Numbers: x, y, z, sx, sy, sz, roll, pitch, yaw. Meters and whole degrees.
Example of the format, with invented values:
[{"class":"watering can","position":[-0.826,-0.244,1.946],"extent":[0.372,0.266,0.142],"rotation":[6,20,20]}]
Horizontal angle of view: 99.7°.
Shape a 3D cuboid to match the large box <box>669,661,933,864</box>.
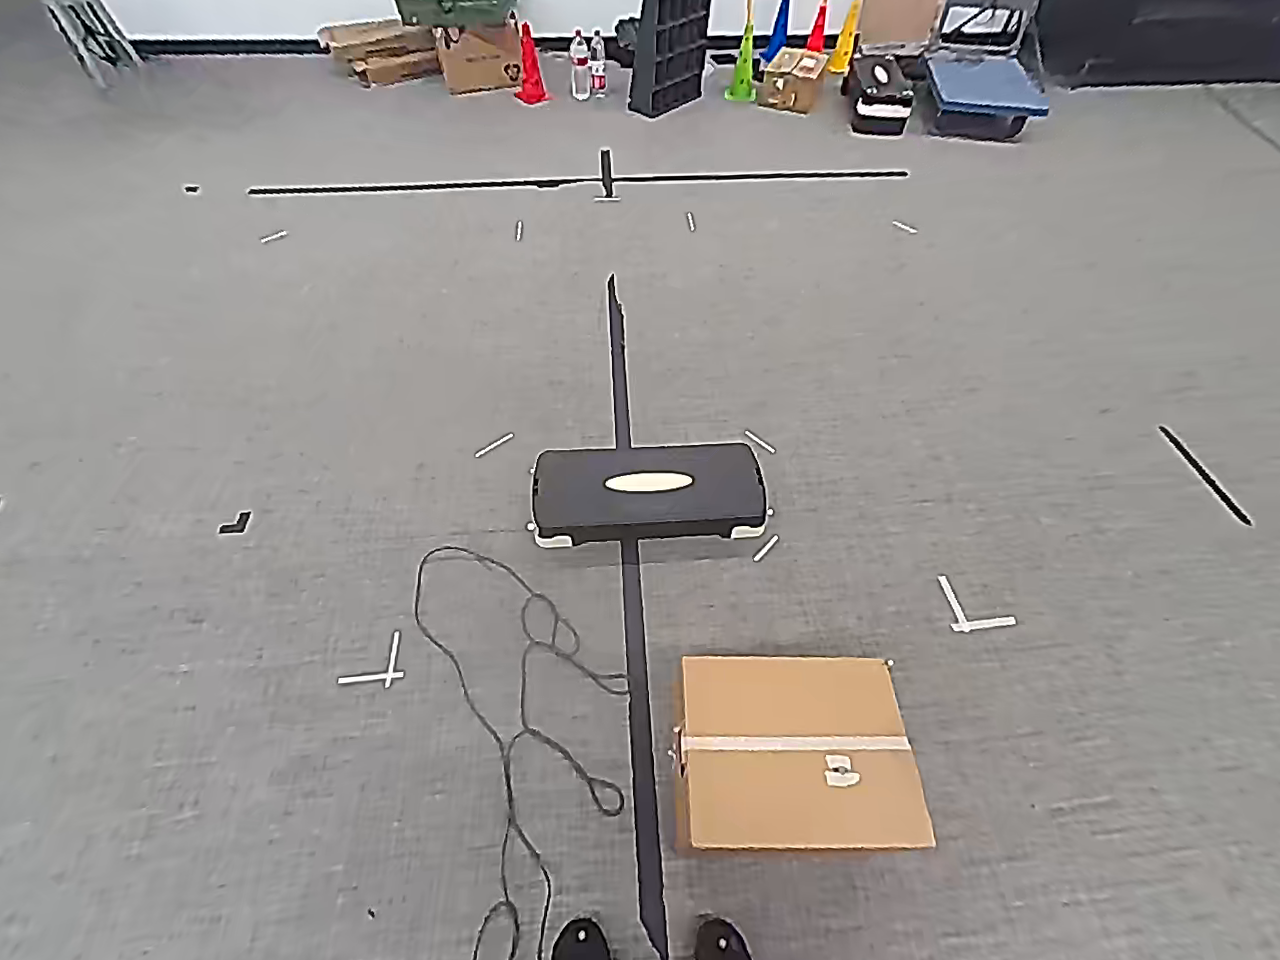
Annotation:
[{"class":"large box","position":[0.276,0.569,1.083],"extent":[0.408,0.320,0.320],"rotation":[1,54,-2]}]
